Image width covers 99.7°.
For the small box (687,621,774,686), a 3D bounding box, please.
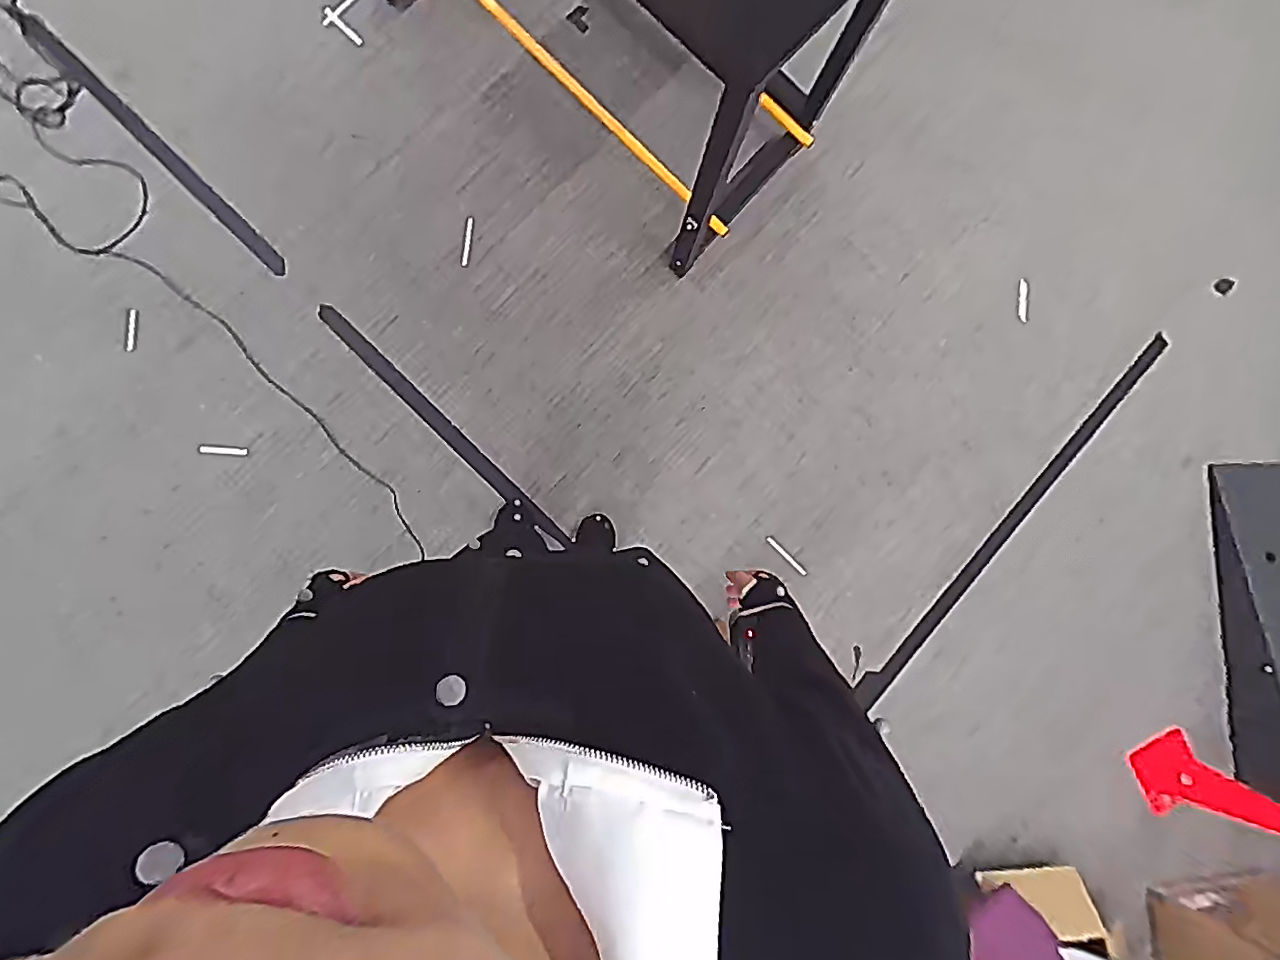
[{"bbox_3d":[0.247,0.497,1.433,0.179,0.176,0.168,37,83,-1],"label":"small box"}]
